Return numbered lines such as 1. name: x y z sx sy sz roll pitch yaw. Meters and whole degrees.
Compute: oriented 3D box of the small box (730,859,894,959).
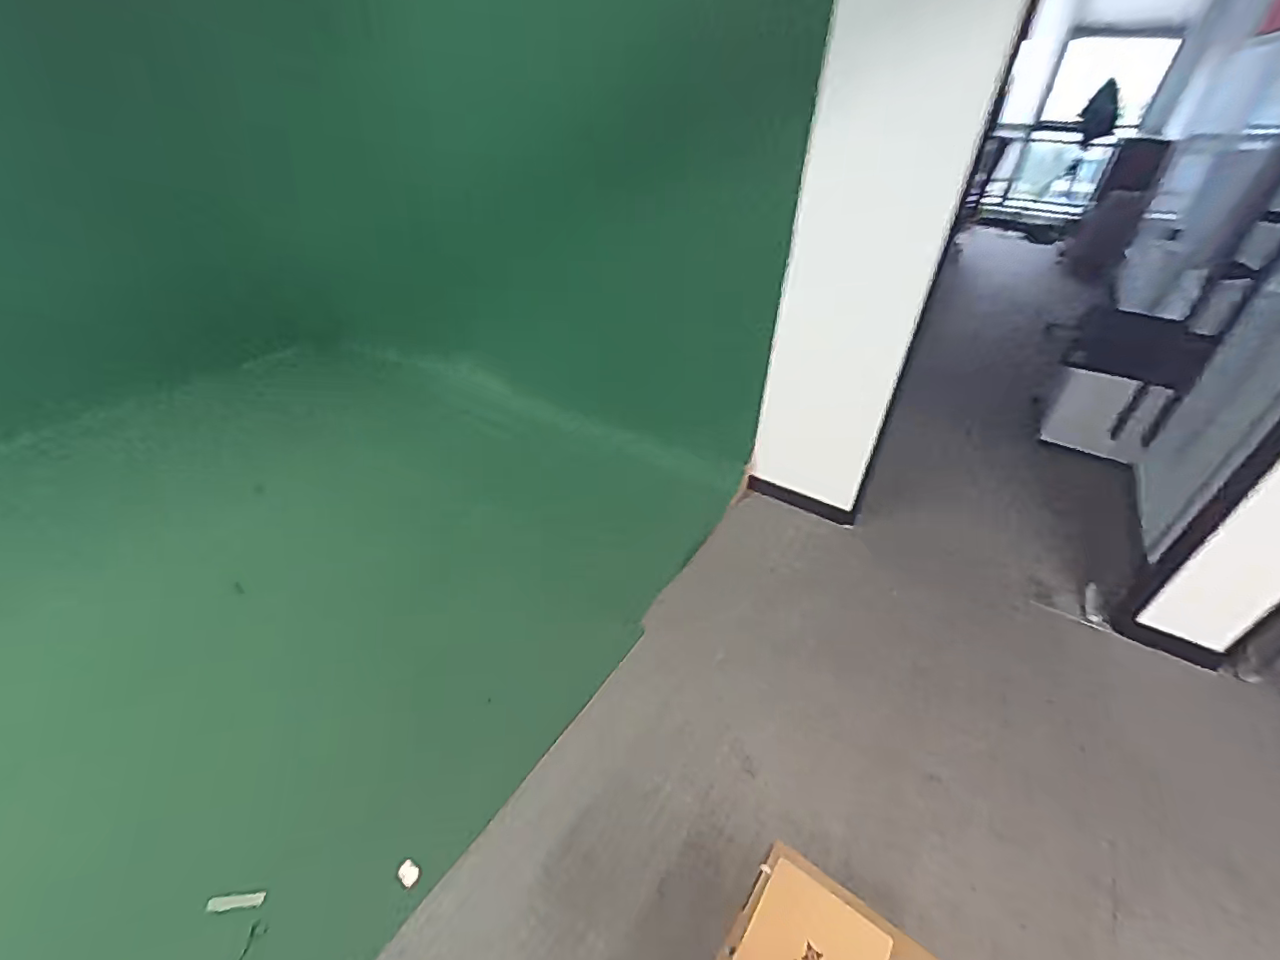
1. small box: 0.216 0.682 0.739 0.168 0.176 0.179 26 42 28
